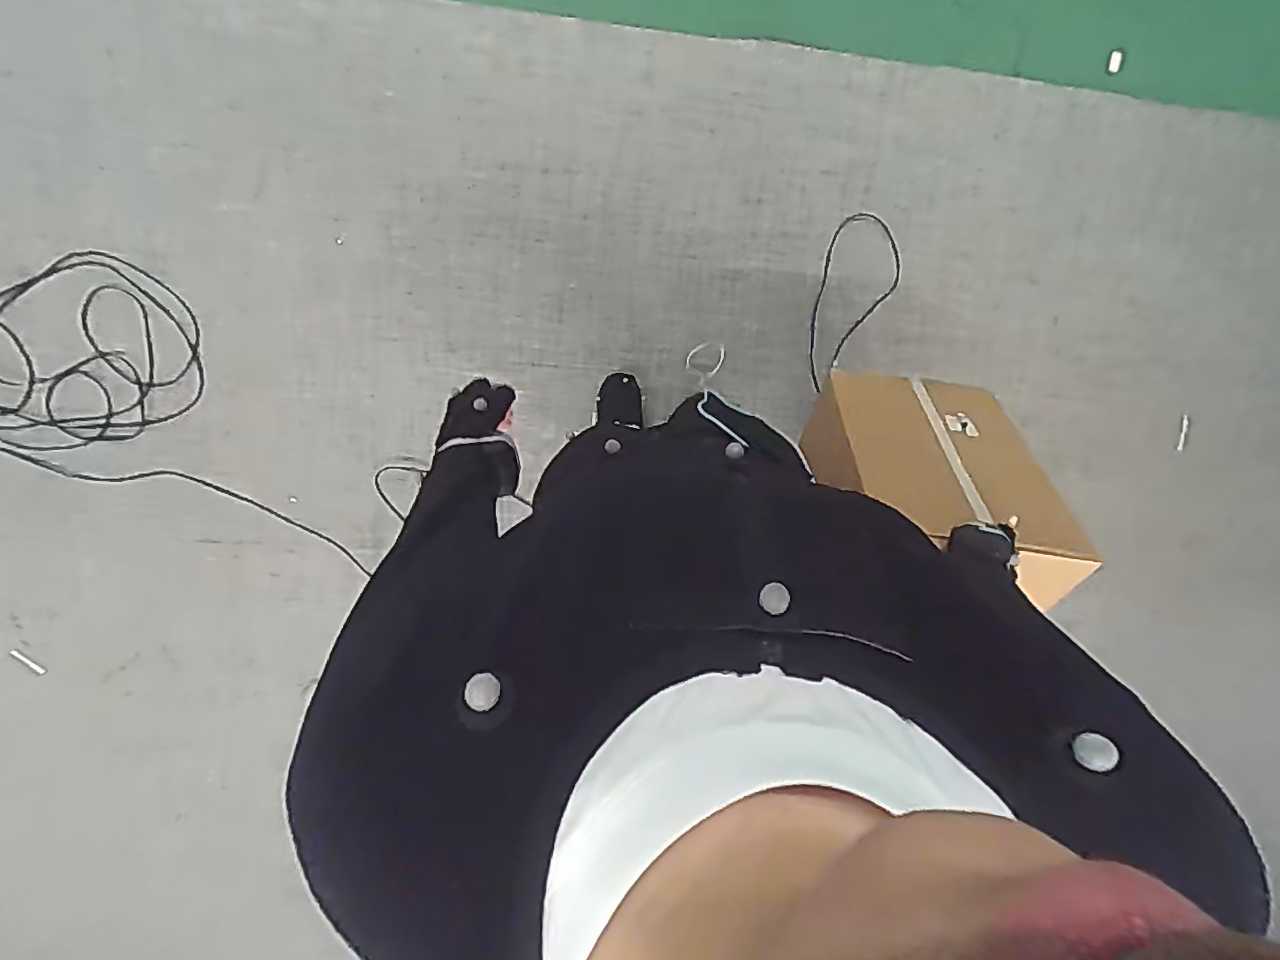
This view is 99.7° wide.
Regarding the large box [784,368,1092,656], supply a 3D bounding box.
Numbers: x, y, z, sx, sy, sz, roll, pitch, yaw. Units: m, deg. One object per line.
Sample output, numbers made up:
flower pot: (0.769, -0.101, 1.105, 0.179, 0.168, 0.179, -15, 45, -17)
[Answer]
large box: (0.468, 0.052, 0.975, 0.320, 0.408, 0.320, 9, 134, -1)
